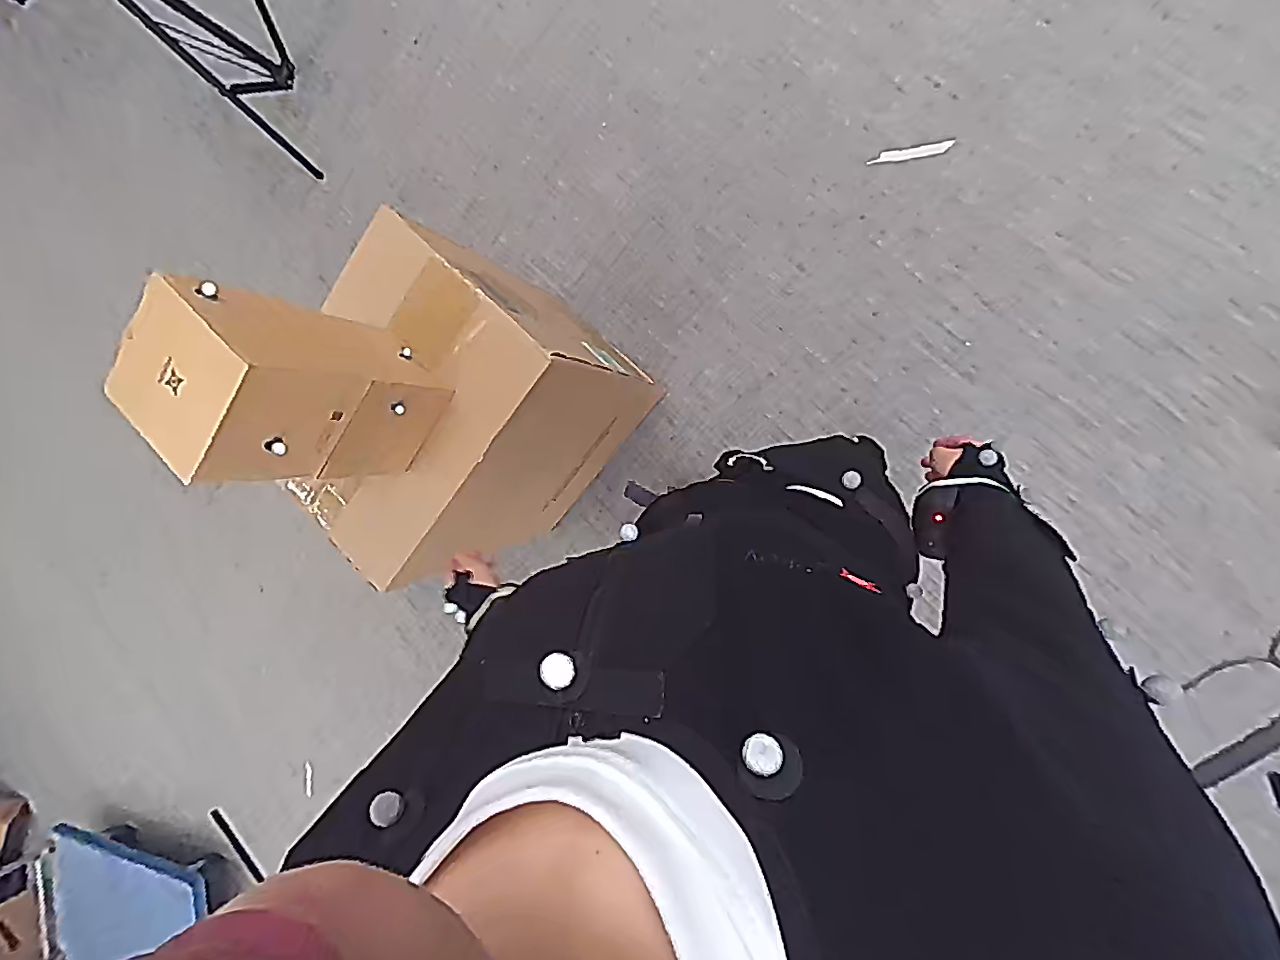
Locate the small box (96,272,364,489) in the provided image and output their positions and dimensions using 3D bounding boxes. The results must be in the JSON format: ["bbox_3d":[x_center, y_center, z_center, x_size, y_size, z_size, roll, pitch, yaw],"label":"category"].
[{"bbox_3d":[-0.477,-0.112,0.648,0.179,0.176,0.168,41,105,12],"label":"small box"}]
